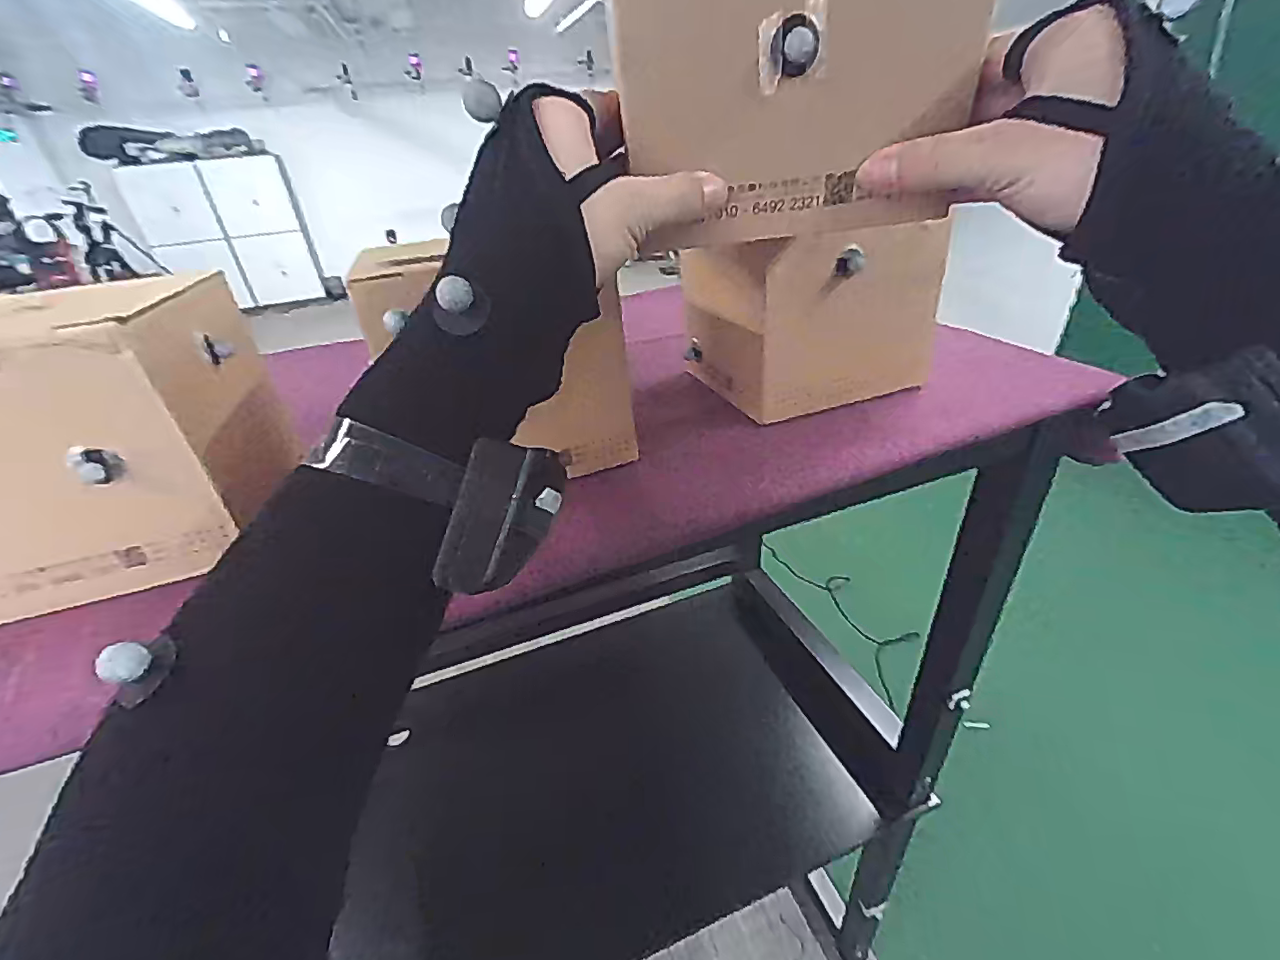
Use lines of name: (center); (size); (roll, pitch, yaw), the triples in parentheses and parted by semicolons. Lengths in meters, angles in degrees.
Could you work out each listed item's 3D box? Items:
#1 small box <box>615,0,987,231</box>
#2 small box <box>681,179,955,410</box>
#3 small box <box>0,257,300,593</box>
small box: (0.071, -0.246, 0.301); (0.168, 0.176, 0.179); (-6, 37, 1)
small box: (0.152, -0.179, 0.511); (0.179, 0.176, 0.168); (-14, 32, -14)
small box: (-0.365, -0.042, 0.371); (0.168, 0.176, 0.179); (-13, 32, -14)
